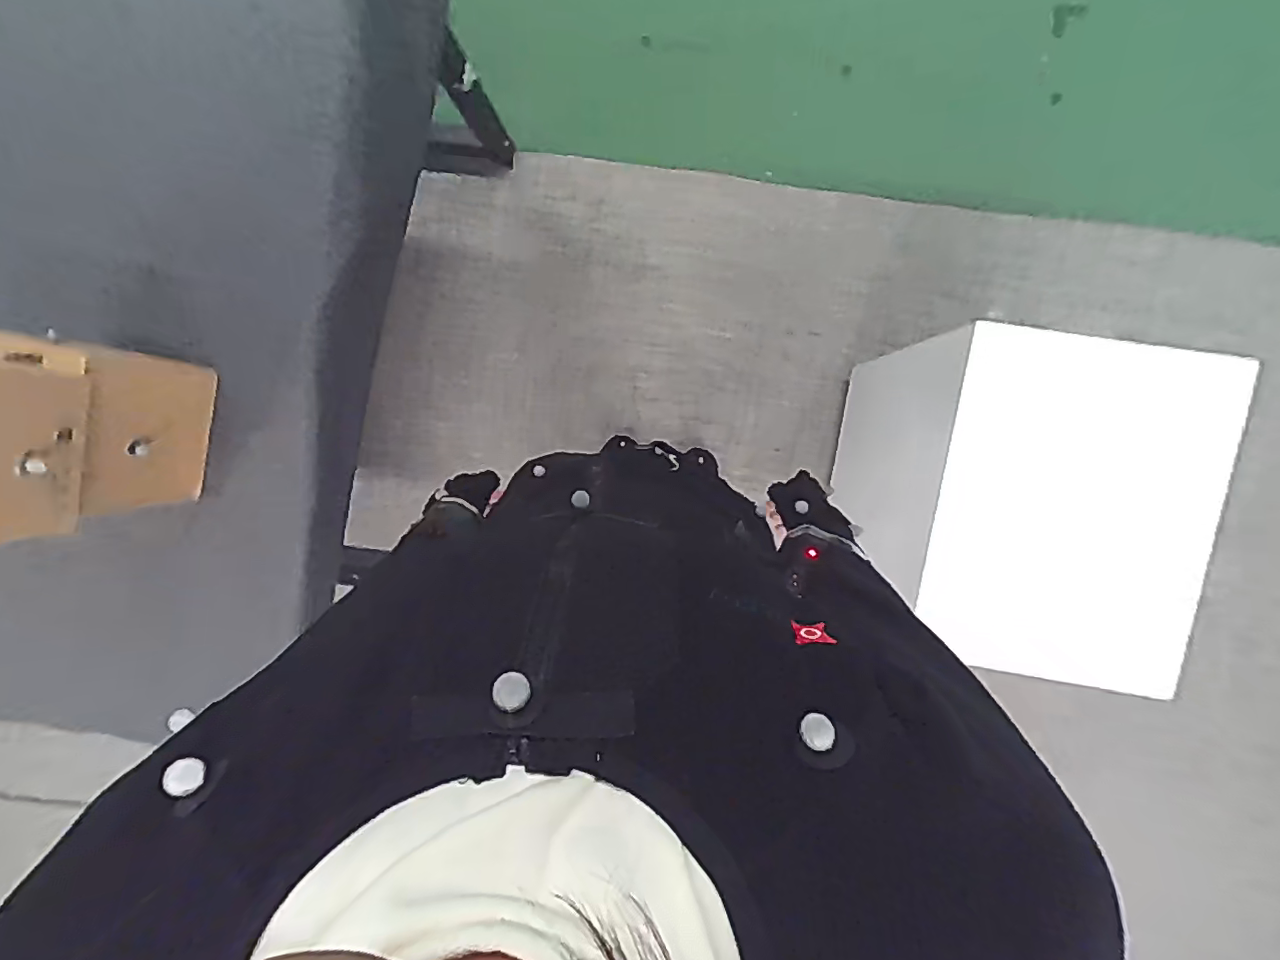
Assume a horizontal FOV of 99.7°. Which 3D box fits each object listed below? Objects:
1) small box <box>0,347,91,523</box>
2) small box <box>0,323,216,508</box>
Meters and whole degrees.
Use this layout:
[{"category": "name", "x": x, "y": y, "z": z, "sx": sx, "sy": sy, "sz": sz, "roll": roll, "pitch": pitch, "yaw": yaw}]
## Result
[{"category": "small box", "x": -0.672, "y": -0.047, "z": 0.491, "sx": 0.179, "sy": 0.176, "sz": 0.168, "roll": 9, "pitch": 96, "yaw": 5}, {"category": "small box", "x": -0.661, "y": -0.079, "z": 0.653, "sx": 0.168, "sy": 0.176, "sz": 0.179, "roll": 13, "pitch": 96, "yaw": 2}]
